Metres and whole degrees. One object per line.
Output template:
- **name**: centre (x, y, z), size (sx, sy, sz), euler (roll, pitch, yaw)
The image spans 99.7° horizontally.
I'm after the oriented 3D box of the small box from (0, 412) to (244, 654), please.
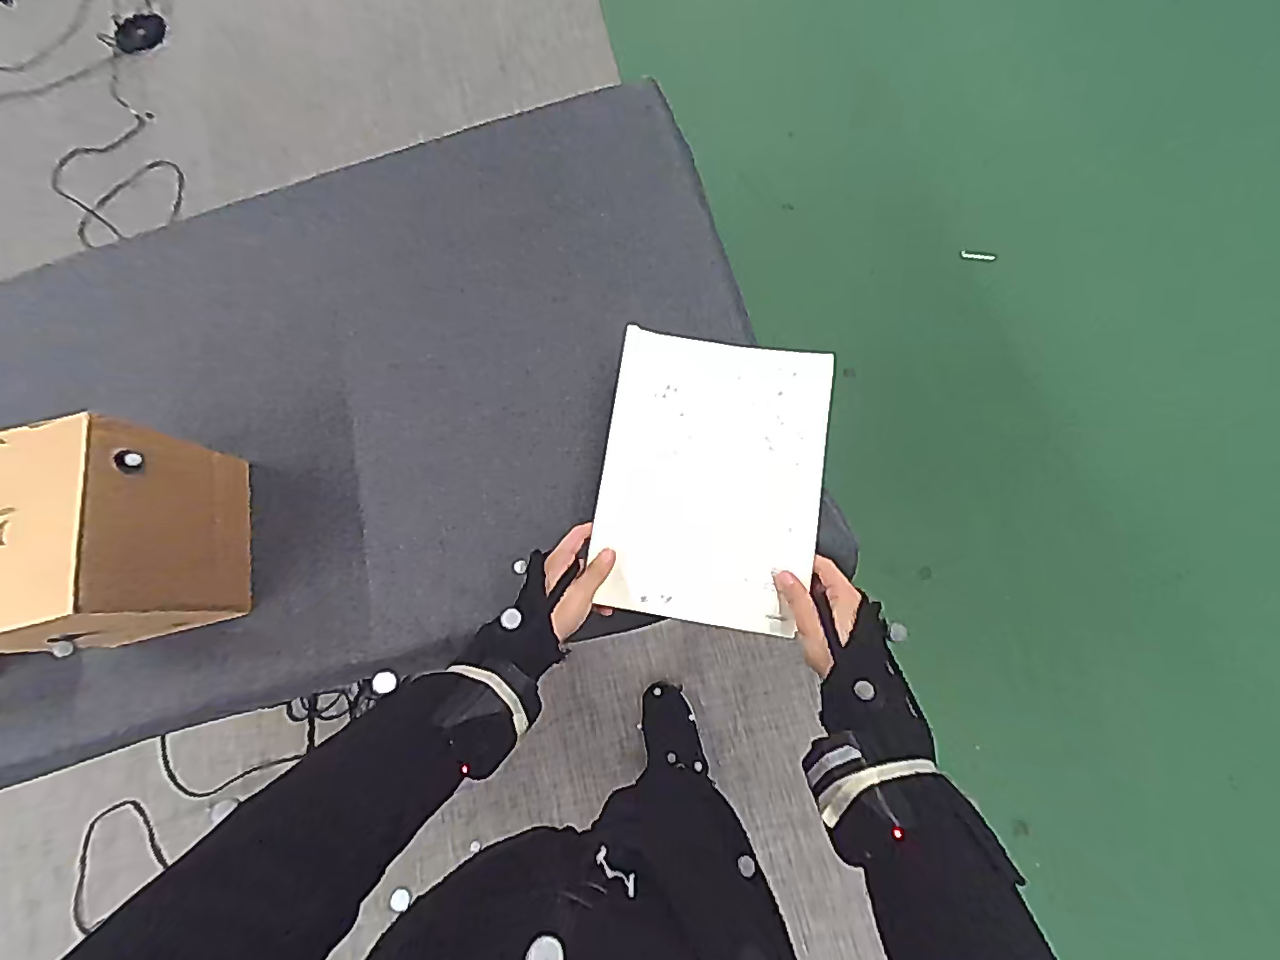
- **small box**: centre (-0.514, 0.062, 0.511), size (0.168, 0.176, 0.179), euler (-14, 74, 4)
